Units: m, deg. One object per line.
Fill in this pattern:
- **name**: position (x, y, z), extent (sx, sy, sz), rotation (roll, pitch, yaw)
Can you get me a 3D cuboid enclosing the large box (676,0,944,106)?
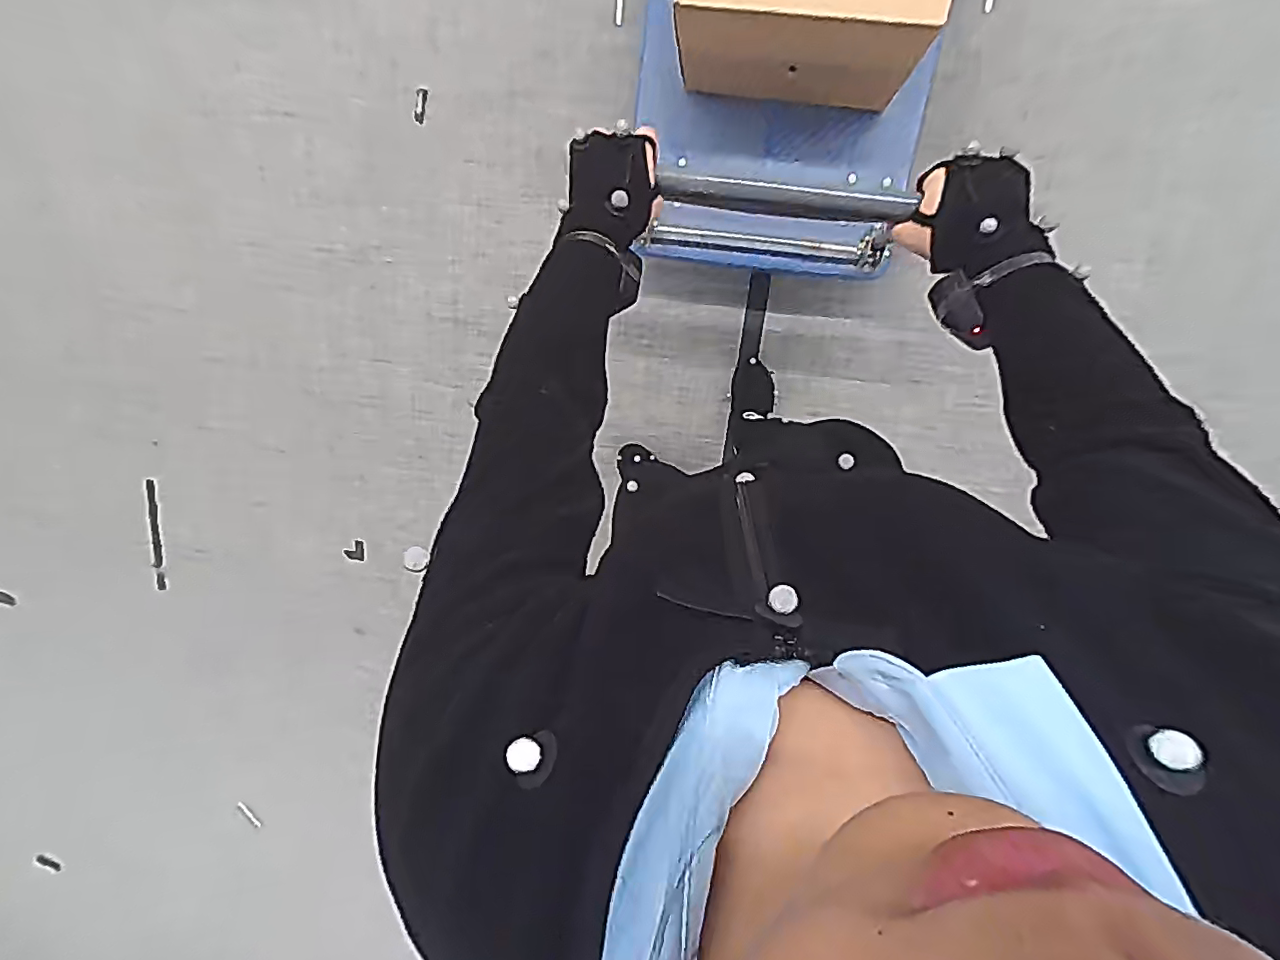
- **large box**: position (0.291, -0.885, 0.930), extent (0.408, 0.320, 0.320), rotation (9, 105, 7)
